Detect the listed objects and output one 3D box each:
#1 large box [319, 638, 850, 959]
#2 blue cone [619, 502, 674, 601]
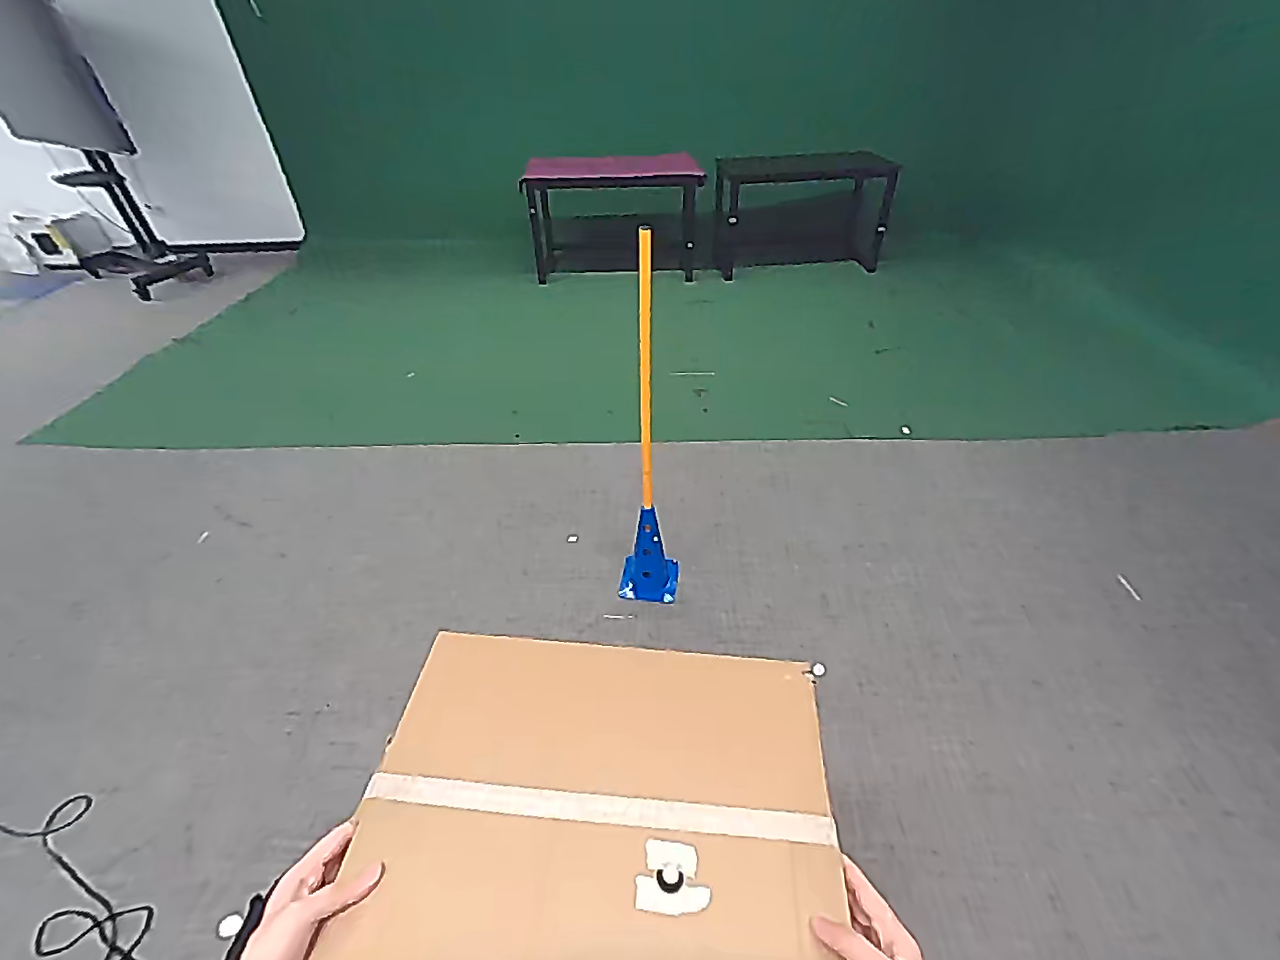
[{"bbox_3d":[-0.036,0.400,0.579,0.408,0.320,0.320,4,43,3],"label":"large box"},{"bbox_3d":[0.022,0.232,1.854,0.193,0.380,0.192,6,39,8],"label":"blue cone"}]
